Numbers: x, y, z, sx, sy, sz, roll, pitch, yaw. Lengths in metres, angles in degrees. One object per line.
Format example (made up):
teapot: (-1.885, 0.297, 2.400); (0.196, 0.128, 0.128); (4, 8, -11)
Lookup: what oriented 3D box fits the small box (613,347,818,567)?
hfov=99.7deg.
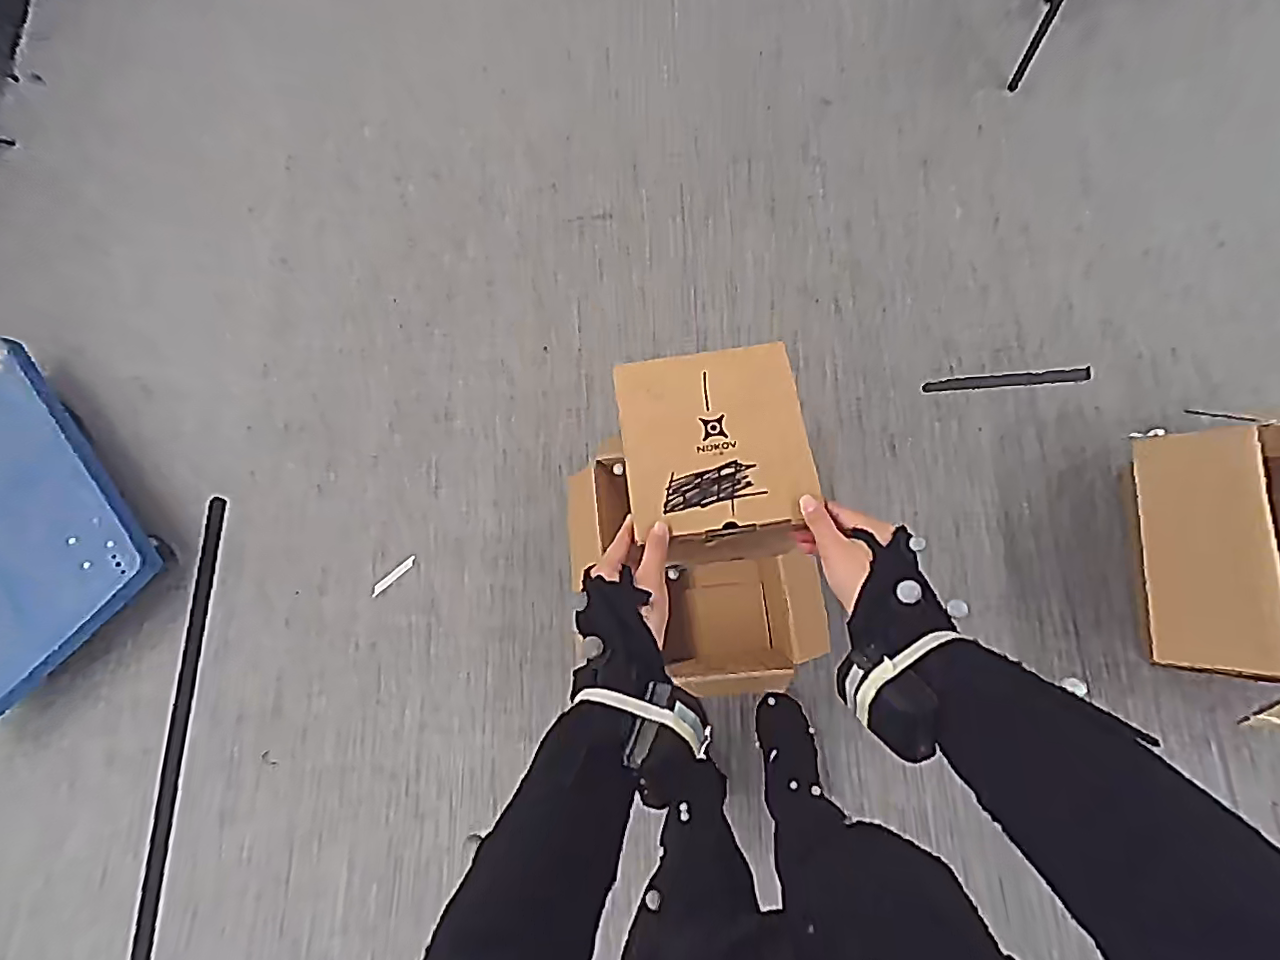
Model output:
small box: (0.069, -0.011, 0.567); (0.168, 0.176, 0.179); (-8, 70, 0)
